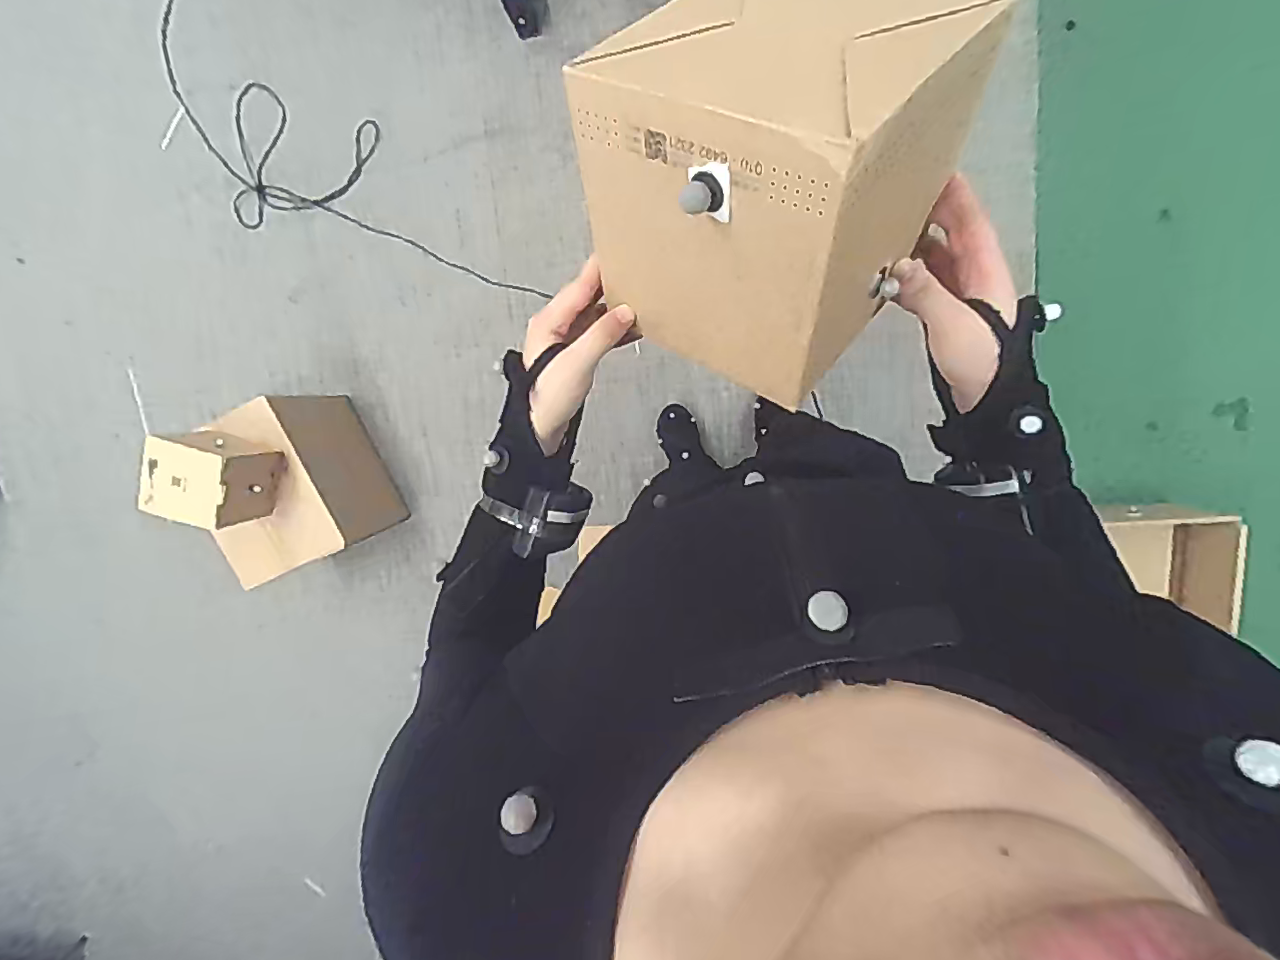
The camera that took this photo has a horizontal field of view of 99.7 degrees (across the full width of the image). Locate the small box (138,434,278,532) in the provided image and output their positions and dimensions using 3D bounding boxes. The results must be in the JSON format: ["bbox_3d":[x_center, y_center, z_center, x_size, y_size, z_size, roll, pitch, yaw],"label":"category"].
[{"bbox_3d":[-0.951,-0.001,1.206,0.179,0.176,0.168,16,99,1],"label":"small box"}]

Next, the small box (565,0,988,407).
[{"bbox_3d":[0.079,-0.187,0.345,0.168,0.176,0.179,34,67,25],"label":"small box"}]
